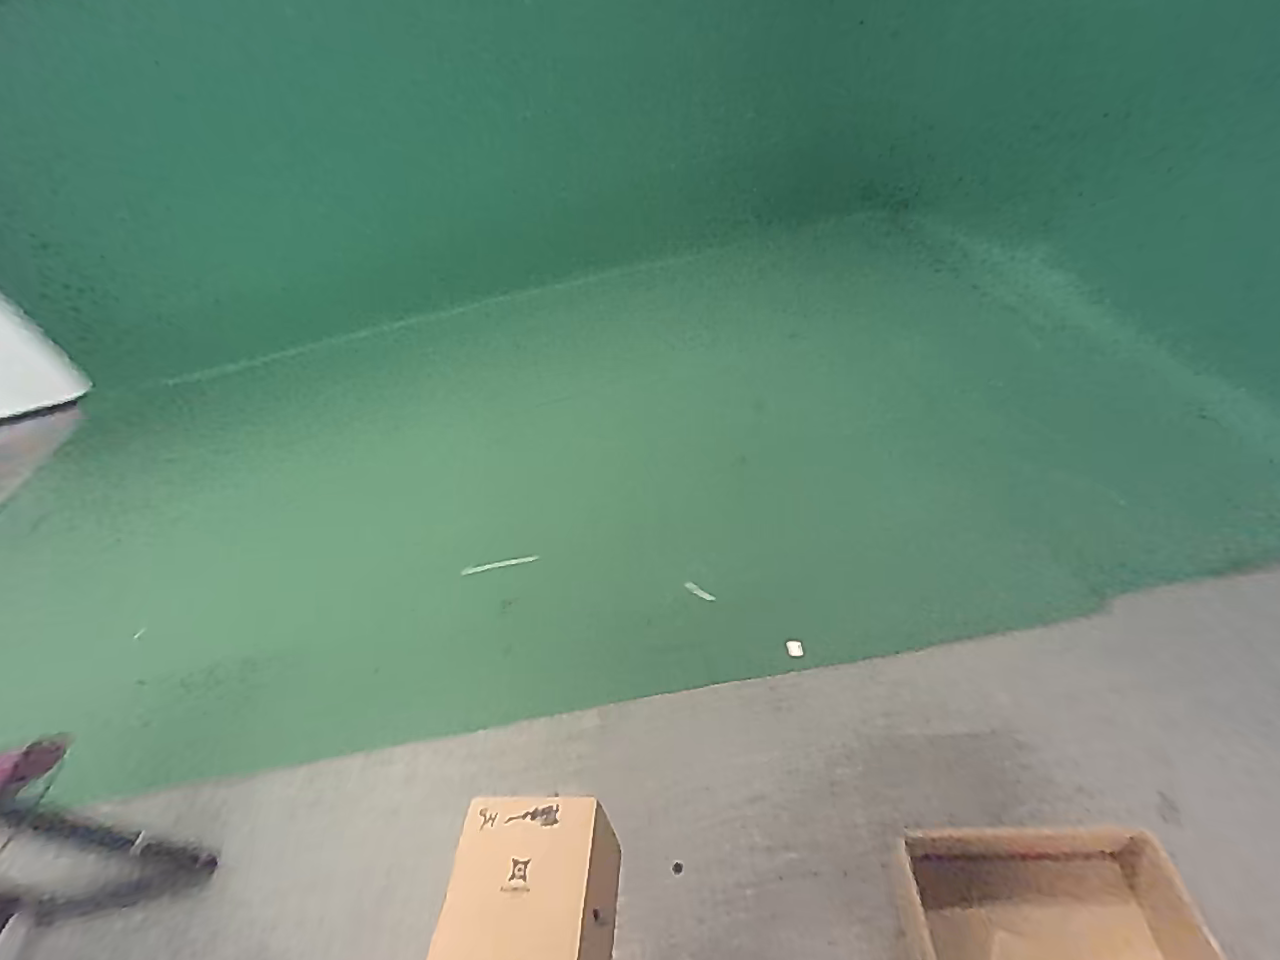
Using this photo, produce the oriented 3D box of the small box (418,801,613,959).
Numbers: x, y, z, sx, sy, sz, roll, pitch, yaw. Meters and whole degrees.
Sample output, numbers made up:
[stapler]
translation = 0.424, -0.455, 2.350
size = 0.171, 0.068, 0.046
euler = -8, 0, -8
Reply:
[small box]
translation = -0.133, 0.514, 0.650
size = 0.168, 0.176, 0.179
euler = -6, 38, 9
